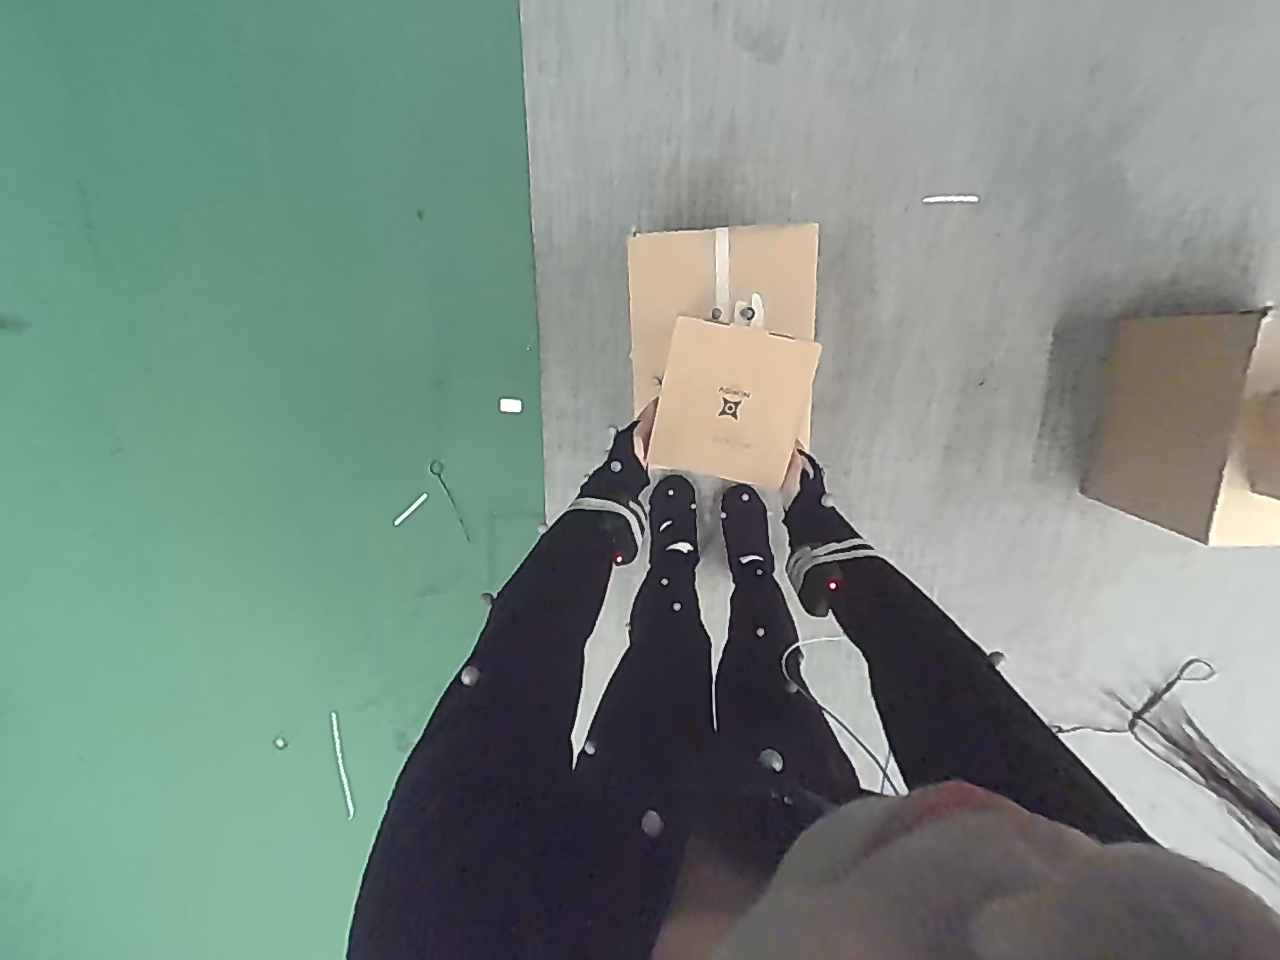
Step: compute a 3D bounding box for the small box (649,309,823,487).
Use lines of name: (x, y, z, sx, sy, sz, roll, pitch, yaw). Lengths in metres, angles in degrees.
small box: (0.112, -0.112, 0.693, 0.168, 0.176, 0.179, 13, 107, 2)

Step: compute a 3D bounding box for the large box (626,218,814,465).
large box: (0.152, -0.260, 1.072, 0.320, 0.320, 0.408, -1, 104, 4)
